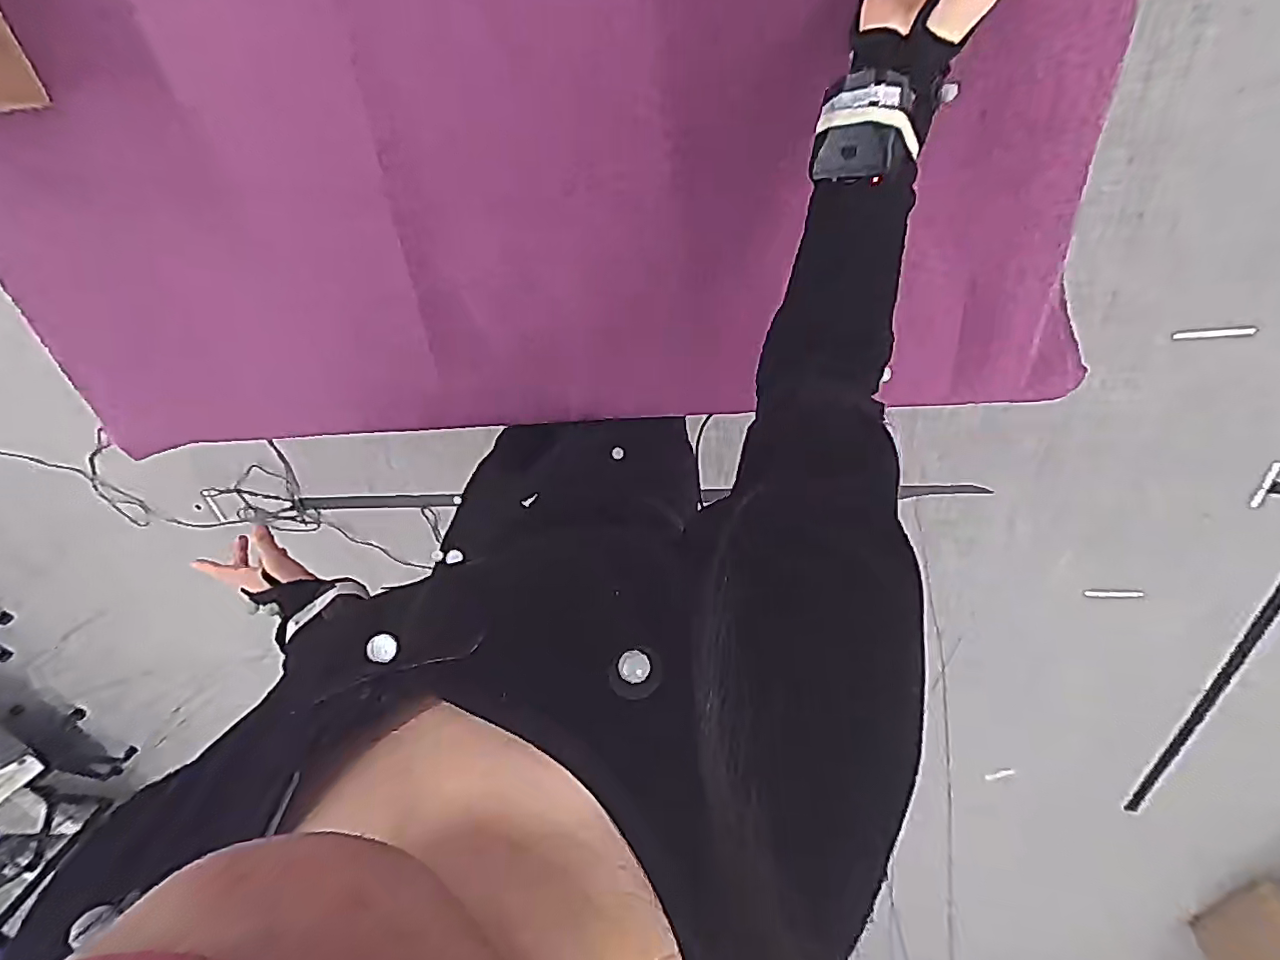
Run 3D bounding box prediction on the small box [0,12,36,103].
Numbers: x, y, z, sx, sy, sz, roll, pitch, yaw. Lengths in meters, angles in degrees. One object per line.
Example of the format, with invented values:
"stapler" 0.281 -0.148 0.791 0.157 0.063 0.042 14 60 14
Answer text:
"small box" -0.701 -0.409 0.450 0.179 0.176 0.168 0 125 7
